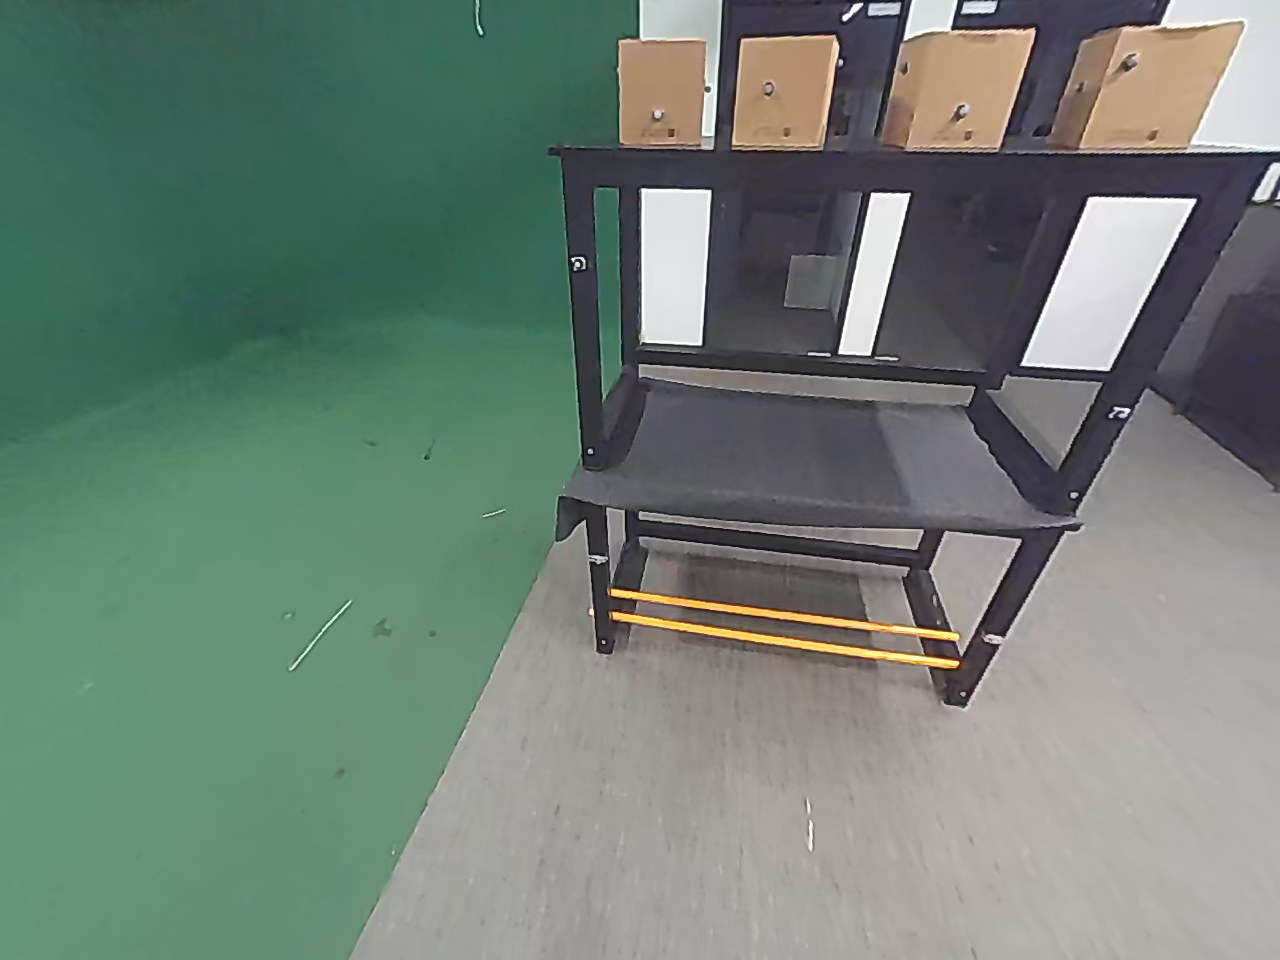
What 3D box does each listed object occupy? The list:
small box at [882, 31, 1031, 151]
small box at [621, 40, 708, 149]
[{"bbox_3d":[0.572,-0.719,1.010,0.168,0.176,0.179,3,34,5],"label":"small box"},{"bbox_3d":[0.050,-0.791,1.117,0.168,0.176,0.179,2,35,3],"label":"small box"}]
